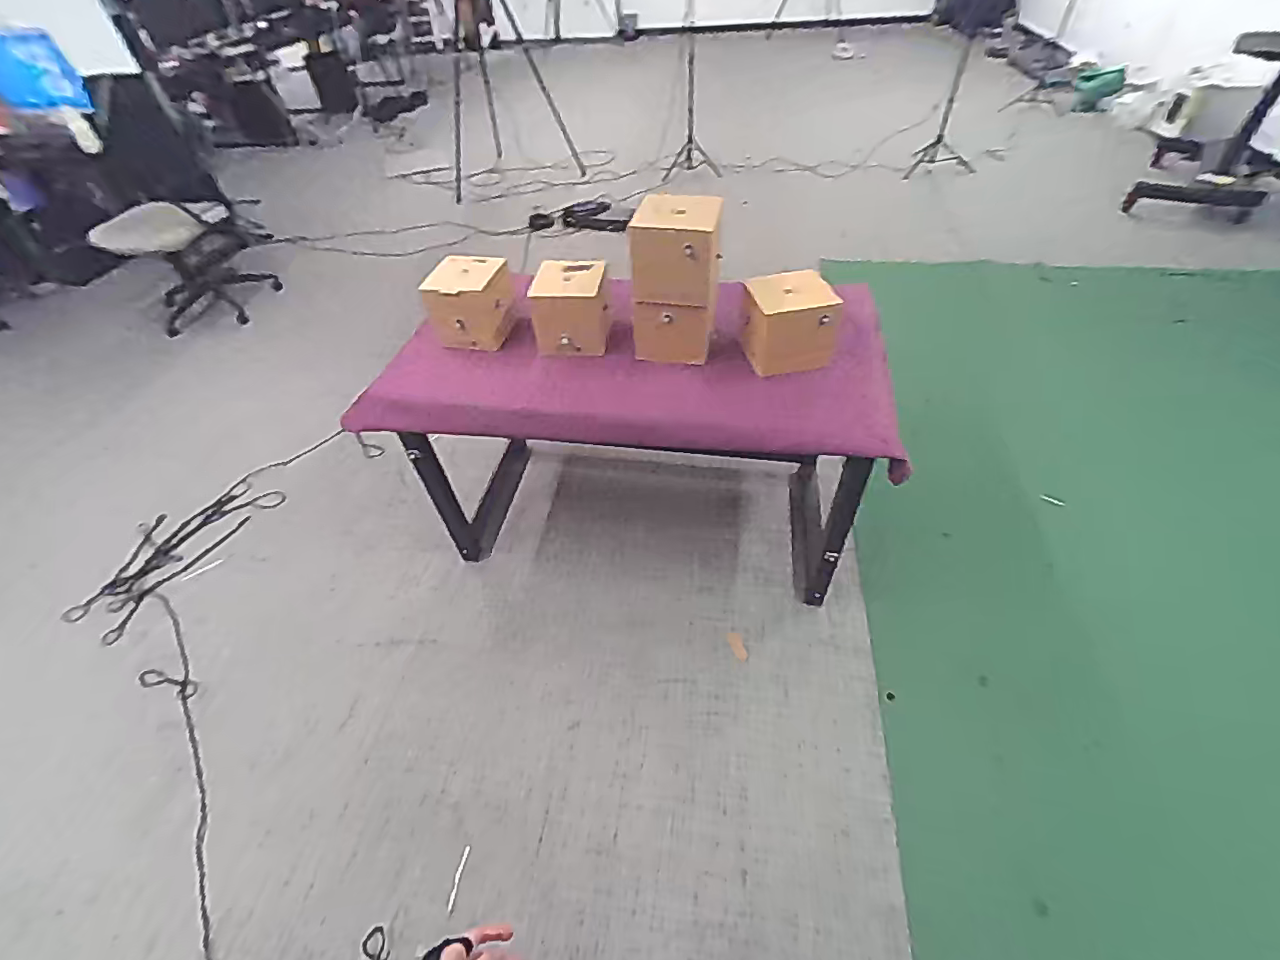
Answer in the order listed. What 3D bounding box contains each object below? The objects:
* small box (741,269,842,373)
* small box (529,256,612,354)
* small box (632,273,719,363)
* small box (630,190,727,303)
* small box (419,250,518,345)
[{"bbox_3d":[0.340,-0.365,1.257,0.179,0.176,0.168,-9,47,-5],"label":"small box"},{"bbox_3d":[-0.165,-0.438,1.348,0.168,0.176,0.179,3,49,6],"label":"small box"},{"bbox_3d":[0.088,-0.401,1.304,0.179,0.176,0.168,9,50,11],"label":"small box"},{"bbox_3d":[0.085,-0.505,1.175,0.179,0.176,0.168,9,49,11],"label":"small box"},{"bbox_3d":[-0.429,-0.467,1.389,0.168,0.176,0.179,8,49,9],"label":"small box"}]
